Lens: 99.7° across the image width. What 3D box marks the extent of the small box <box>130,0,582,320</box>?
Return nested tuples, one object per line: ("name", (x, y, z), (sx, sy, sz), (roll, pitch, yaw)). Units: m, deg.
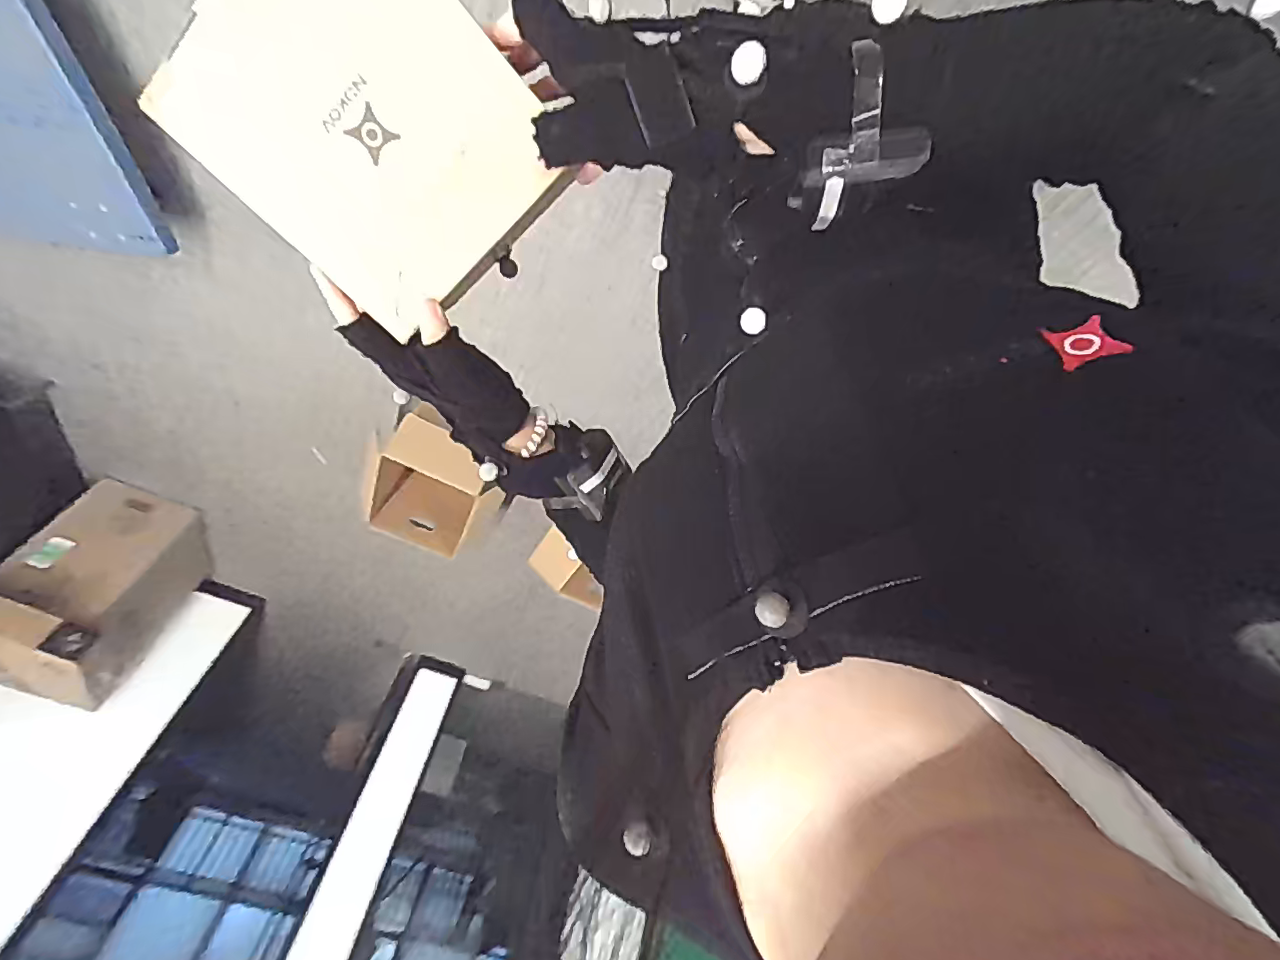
("small box", (-0.157, -0.239, 0.367), (0.168, 0.176, 0.179), (-38, 113, 15))
